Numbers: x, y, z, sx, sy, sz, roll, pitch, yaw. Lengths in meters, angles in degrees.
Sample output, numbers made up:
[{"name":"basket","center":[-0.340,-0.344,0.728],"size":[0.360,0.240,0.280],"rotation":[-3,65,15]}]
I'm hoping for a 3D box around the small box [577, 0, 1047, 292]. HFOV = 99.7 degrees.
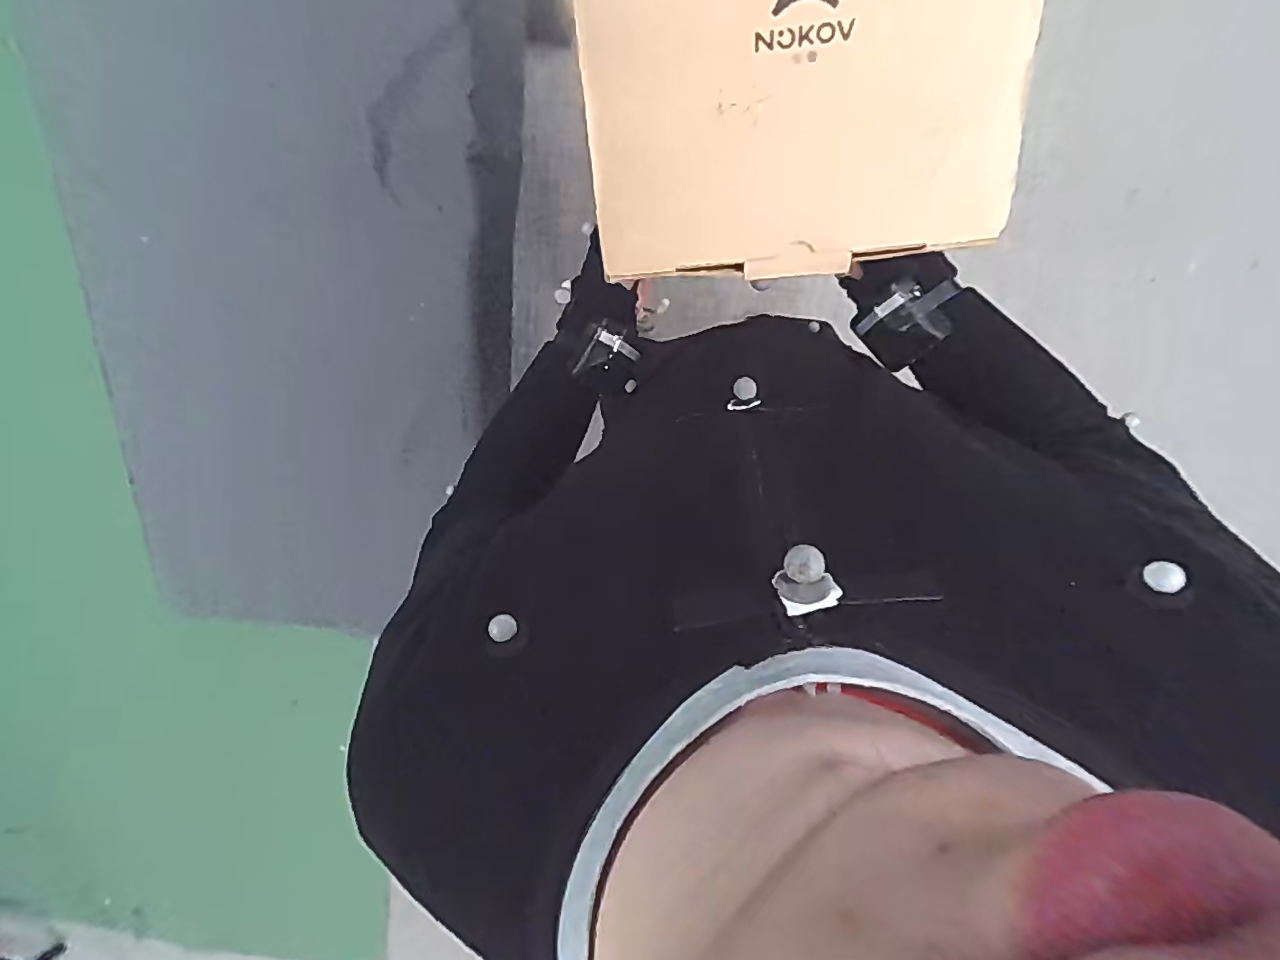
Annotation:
[{"name":"small box","center":[0.065,-0.199,0.266],"size":[0.168,0.176,0.179],"rotation":[-3,115,5]}]
